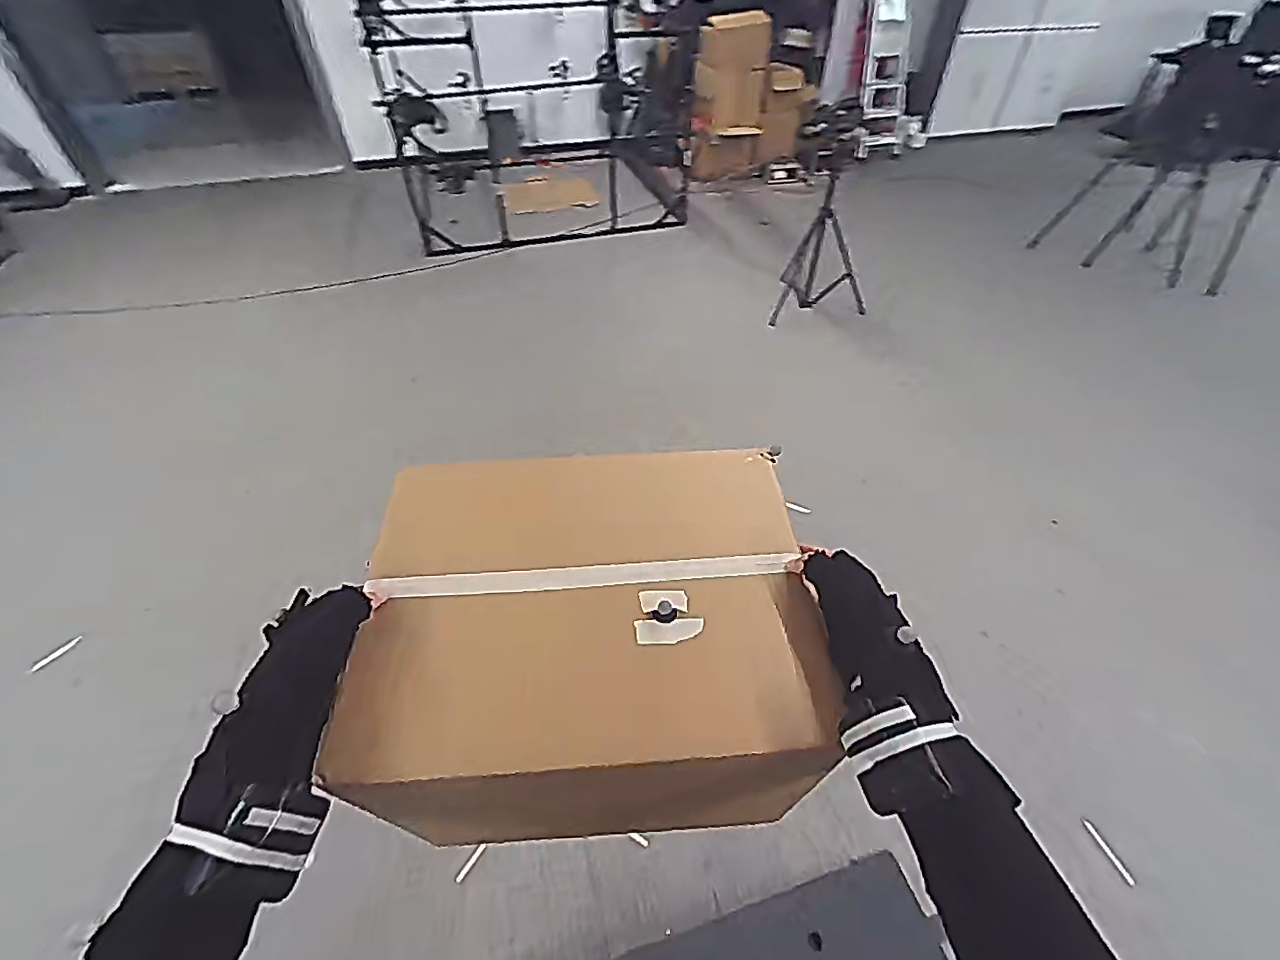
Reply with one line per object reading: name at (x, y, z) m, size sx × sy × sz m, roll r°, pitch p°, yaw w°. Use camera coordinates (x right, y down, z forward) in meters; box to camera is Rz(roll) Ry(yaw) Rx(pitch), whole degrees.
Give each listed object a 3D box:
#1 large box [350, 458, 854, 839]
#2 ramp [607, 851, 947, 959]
large box at (-0.036, 0.197, 0.627) m, size 0.408 × 0.320 × 0.320 m, roll -2°, pitch 49°, yaw -2°
ramp at (0.236, 1.149, 1.056) m, size 0.991 × 0.206 × 0.509 m, roll -14°, pitch 45°, yaw -13°
